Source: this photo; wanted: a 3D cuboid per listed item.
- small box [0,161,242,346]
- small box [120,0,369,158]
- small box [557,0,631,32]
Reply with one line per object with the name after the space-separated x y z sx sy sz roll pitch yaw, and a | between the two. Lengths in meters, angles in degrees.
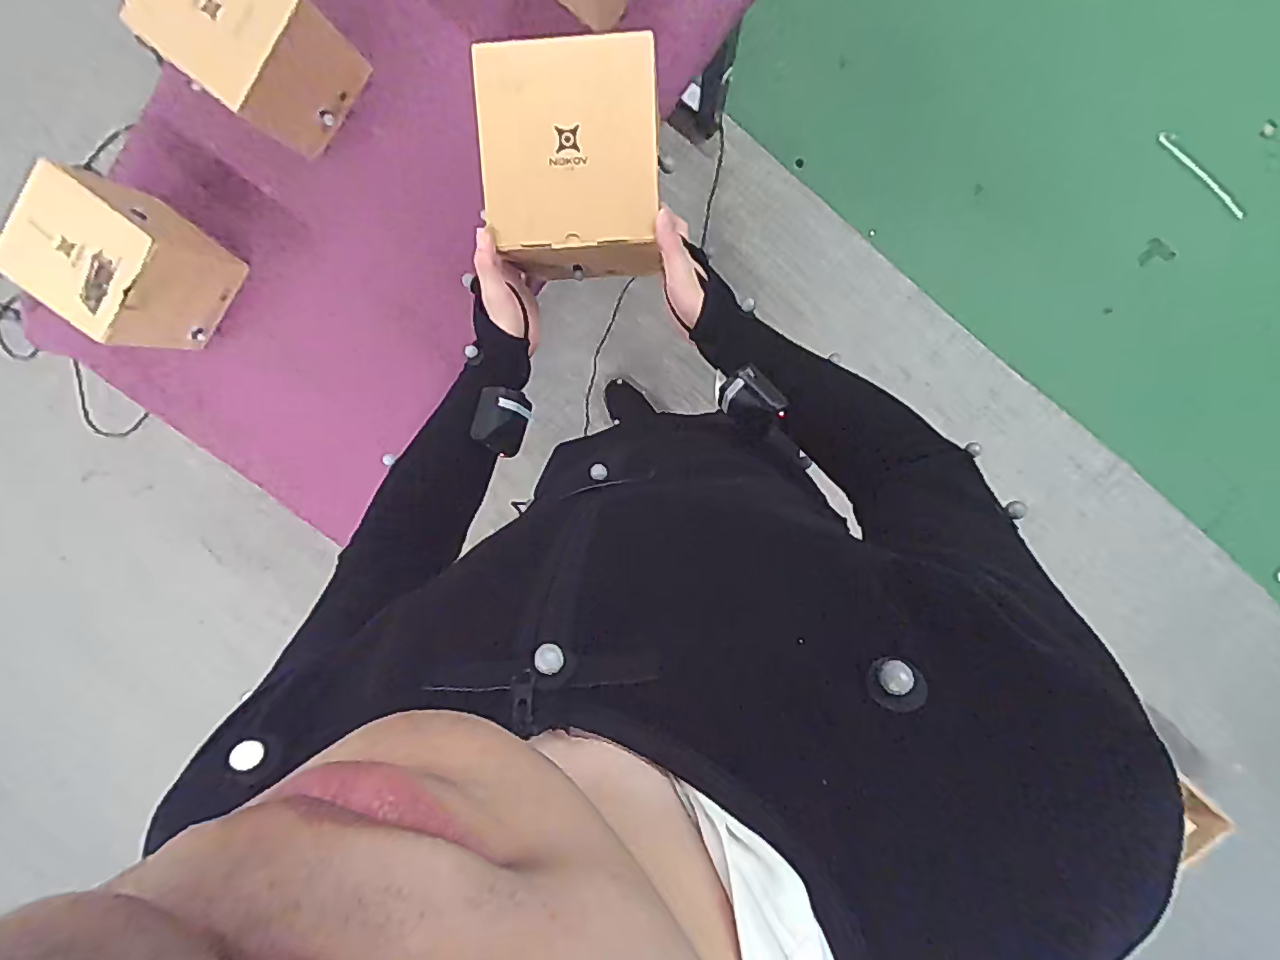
-0.742 -0.311 0.789 0.179 0.176 0.168 38 99 -4 | small box
-0.518 -0.585 0.734 0.179 0.176 0.168 39 100 -5 | small box
-0.076 -0.735 0.682 0.179 0.176 0.168 40 100 -3 | small box
